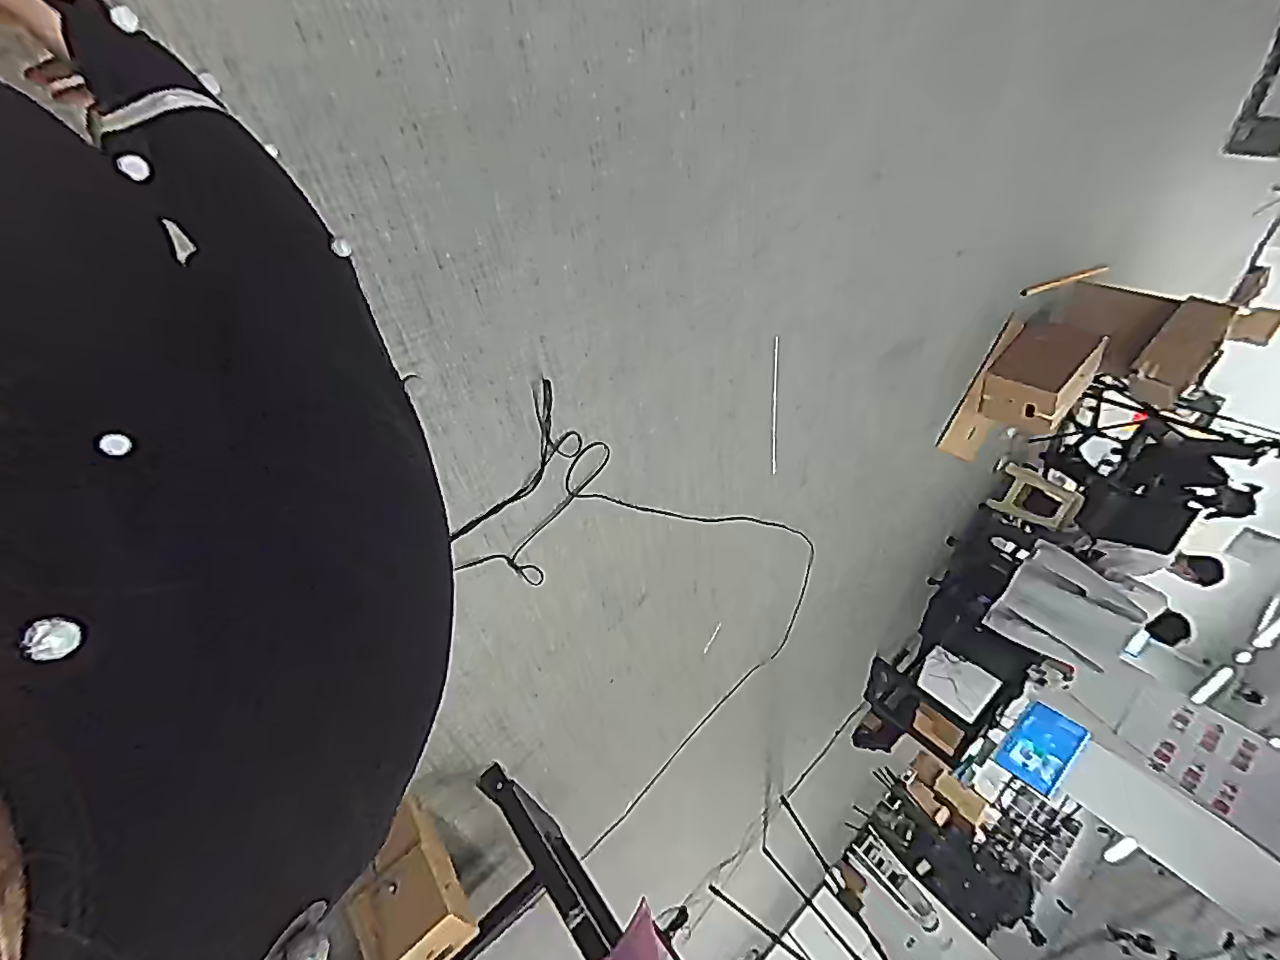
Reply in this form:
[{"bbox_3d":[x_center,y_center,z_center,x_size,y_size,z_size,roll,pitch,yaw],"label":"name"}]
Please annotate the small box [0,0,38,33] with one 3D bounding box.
[{"bbox_3d":[-0.591,-0.411,0.377,0.179,0.176,0.168,-35,137,-22],"label":"small box"}]
